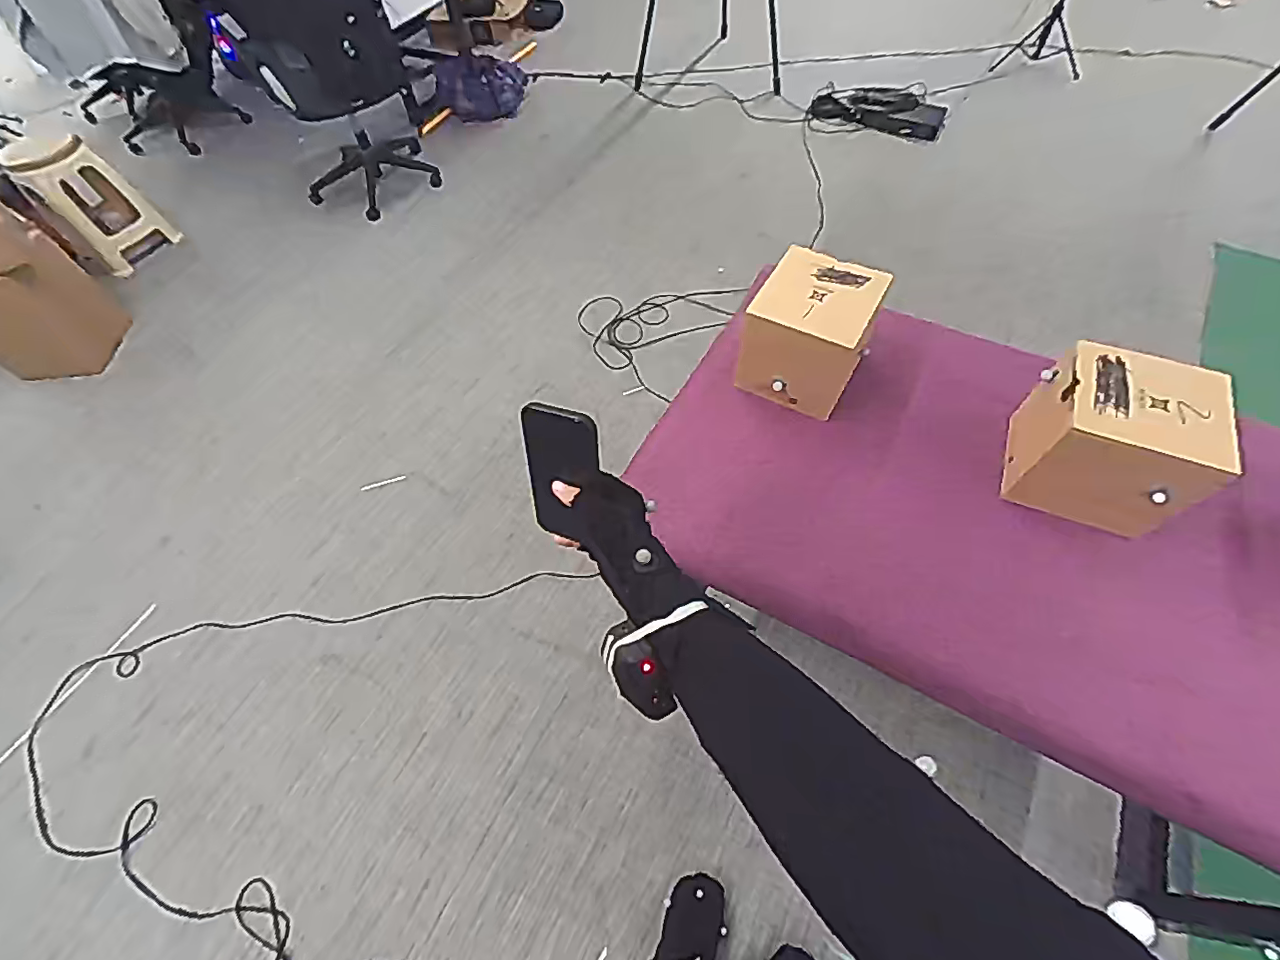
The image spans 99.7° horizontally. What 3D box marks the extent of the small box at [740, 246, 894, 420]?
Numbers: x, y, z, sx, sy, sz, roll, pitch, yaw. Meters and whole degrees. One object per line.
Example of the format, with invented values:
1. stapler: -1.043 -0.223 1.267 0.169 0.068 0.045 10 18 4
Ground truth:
1. small box: 0.272 -0.232 0.865 0.168 0.176 0.179 26 64 18
